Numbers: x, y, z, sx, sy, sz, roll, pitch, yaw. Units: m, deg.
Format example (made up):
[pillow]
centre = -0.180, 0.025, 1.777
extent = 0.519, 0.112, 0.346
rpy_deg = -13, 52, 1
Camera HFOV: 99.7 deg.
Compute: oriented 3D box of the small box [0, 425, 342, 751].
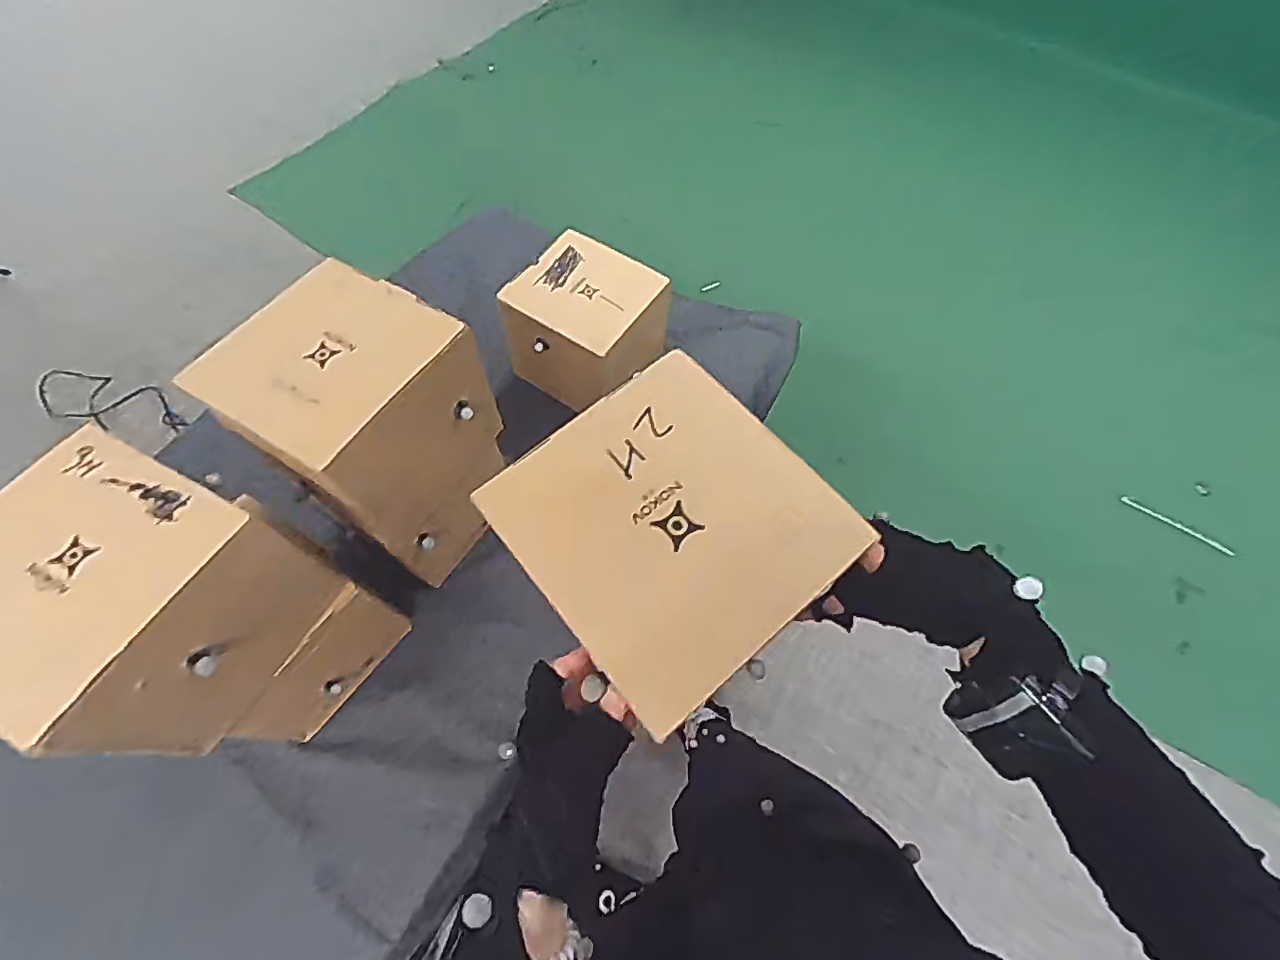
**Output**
[small box]
centre = -0.390, 0.094, 0.441
extent = 0.168, 0.176, 0.179
rpy_deg = 26, 66, 10
